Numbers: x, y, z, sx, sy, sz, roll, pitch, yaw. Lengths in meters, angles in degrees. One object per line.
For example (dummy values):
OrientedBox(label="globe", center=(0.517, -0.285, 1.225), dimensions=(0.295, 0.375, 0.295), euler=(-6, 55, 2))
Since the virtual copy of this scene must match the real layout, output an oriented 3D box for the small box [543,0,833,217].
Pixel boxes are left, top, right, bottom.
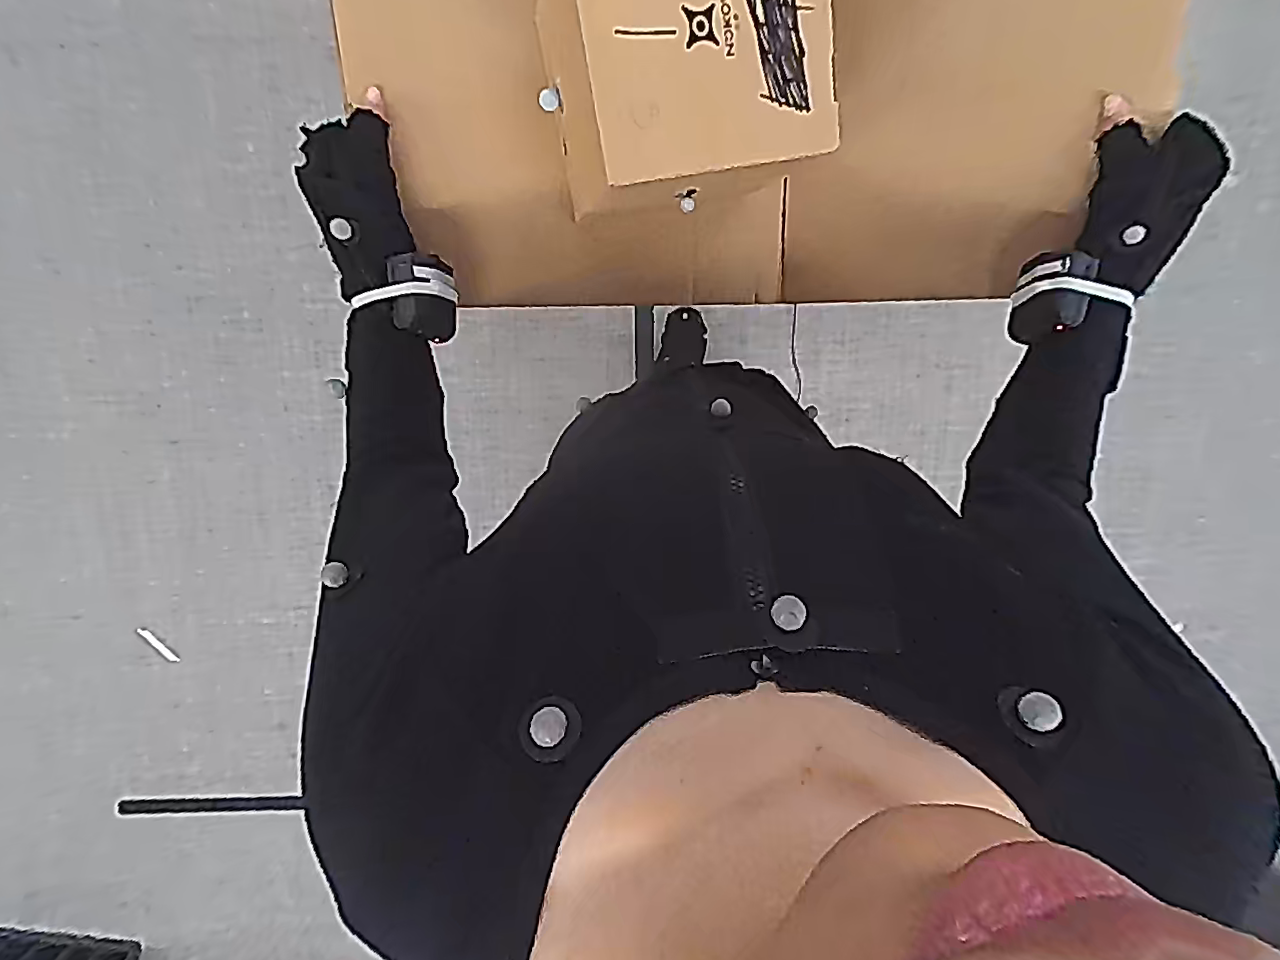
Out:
OrientedBox(label="small box", center=(0.028, -0.323, 0.433), dimensions=(0.179, 0.176, 0.168), euler=(-14, 109, -9))
